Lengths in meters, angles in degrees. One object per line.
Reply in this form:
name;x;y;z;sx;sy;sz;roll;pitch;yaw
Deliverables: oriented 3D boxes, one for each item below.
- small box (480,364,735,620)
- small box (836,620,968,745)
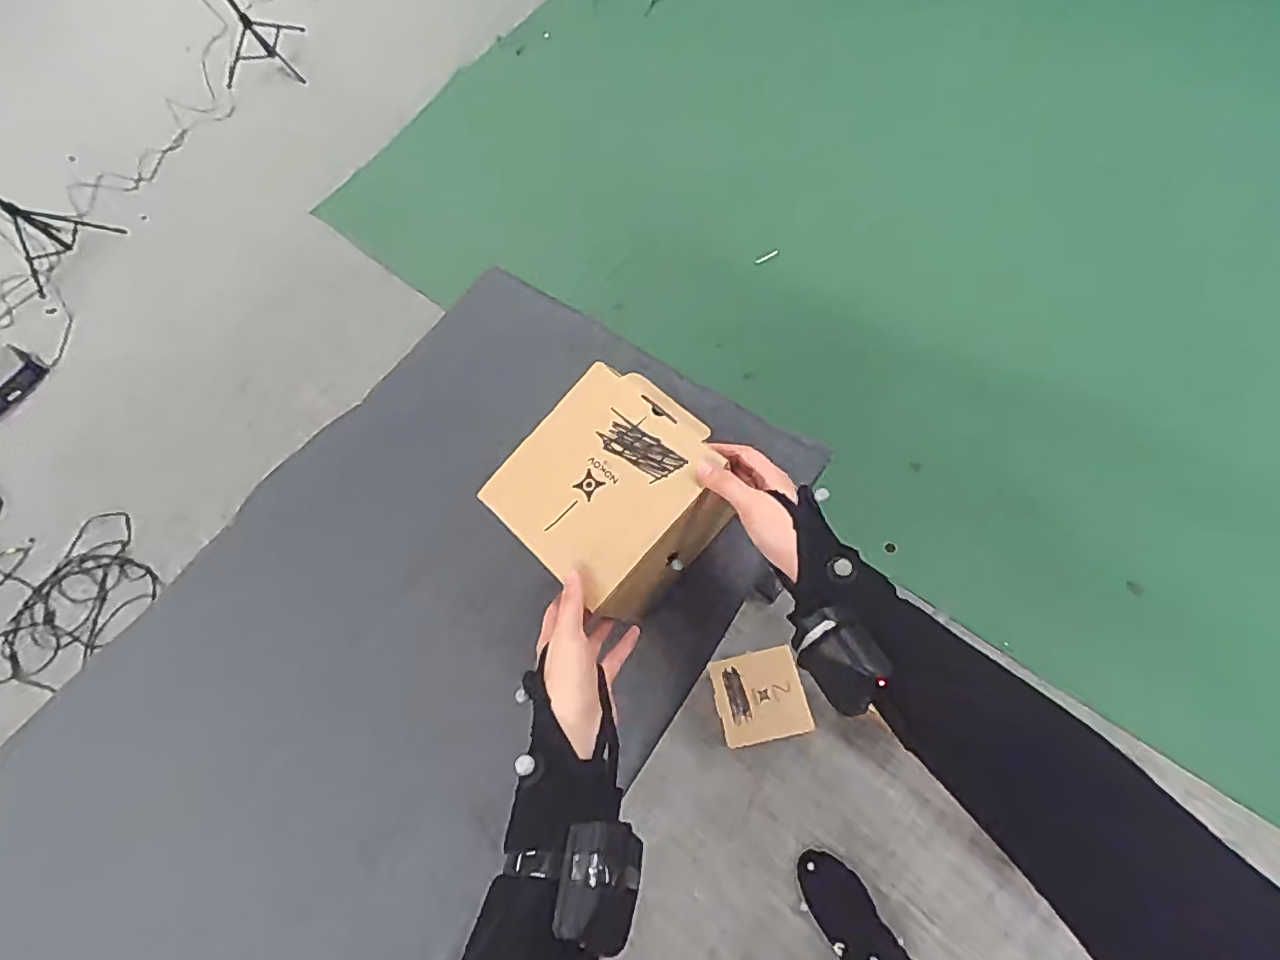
small box;-0.018;0.022;0.552;0.168;0.176;0.179;42;88;21
small box;0.524;0.410;1.104;0.179;0.176;0.168;27;76;21
